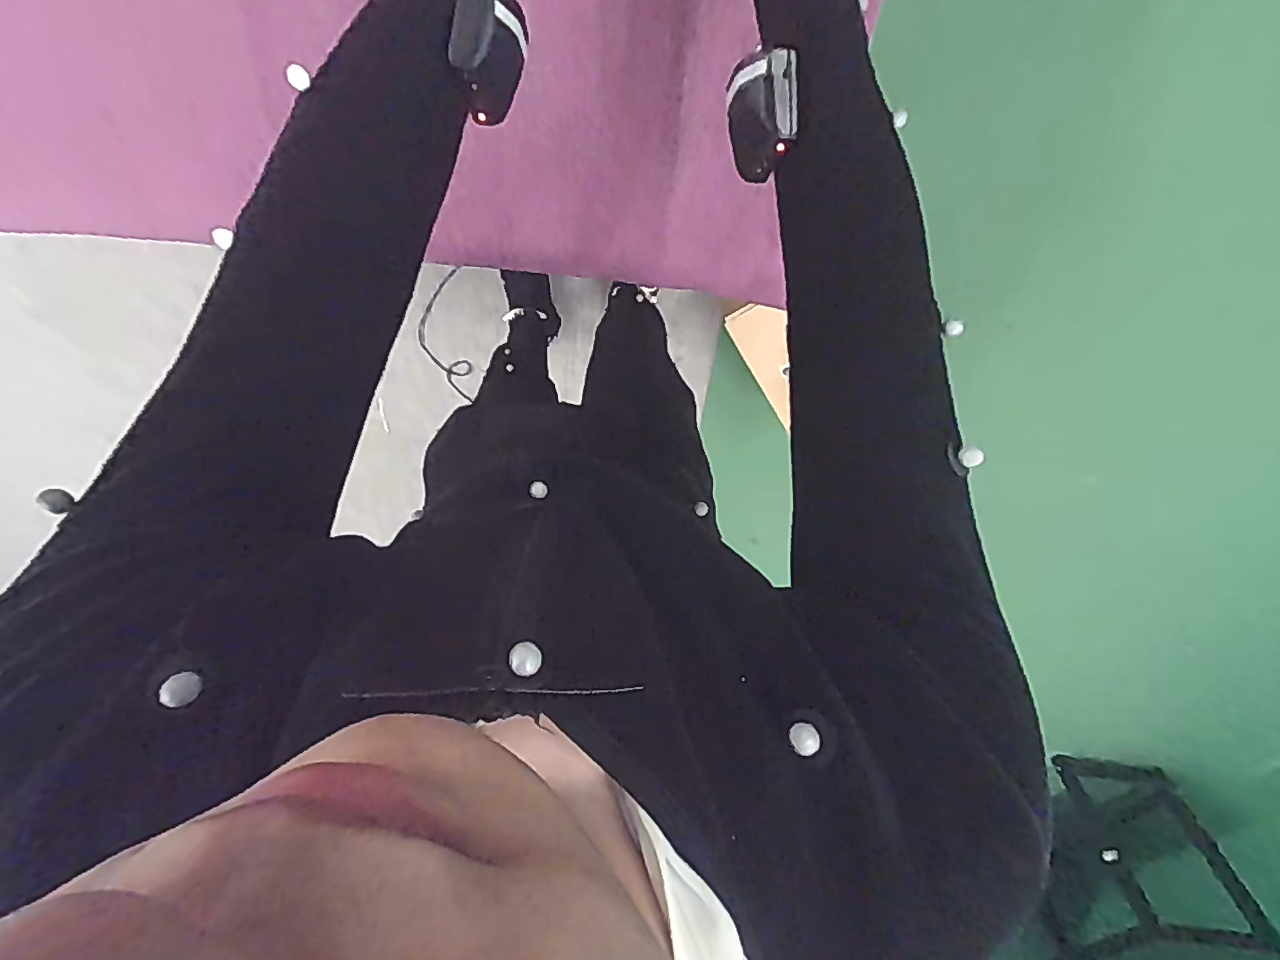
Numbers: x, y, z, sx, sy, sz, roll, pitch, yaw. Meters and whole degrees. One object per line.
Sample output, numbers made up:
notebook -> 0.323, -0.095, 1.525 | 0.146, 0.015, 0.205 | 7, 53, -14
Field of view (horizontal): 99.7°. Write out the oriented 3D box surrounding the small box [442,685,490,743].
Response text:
small box -> -0.796, 1.077, 2.485 | 0.168, 0.176, 0.179 | 12, 126, -1
